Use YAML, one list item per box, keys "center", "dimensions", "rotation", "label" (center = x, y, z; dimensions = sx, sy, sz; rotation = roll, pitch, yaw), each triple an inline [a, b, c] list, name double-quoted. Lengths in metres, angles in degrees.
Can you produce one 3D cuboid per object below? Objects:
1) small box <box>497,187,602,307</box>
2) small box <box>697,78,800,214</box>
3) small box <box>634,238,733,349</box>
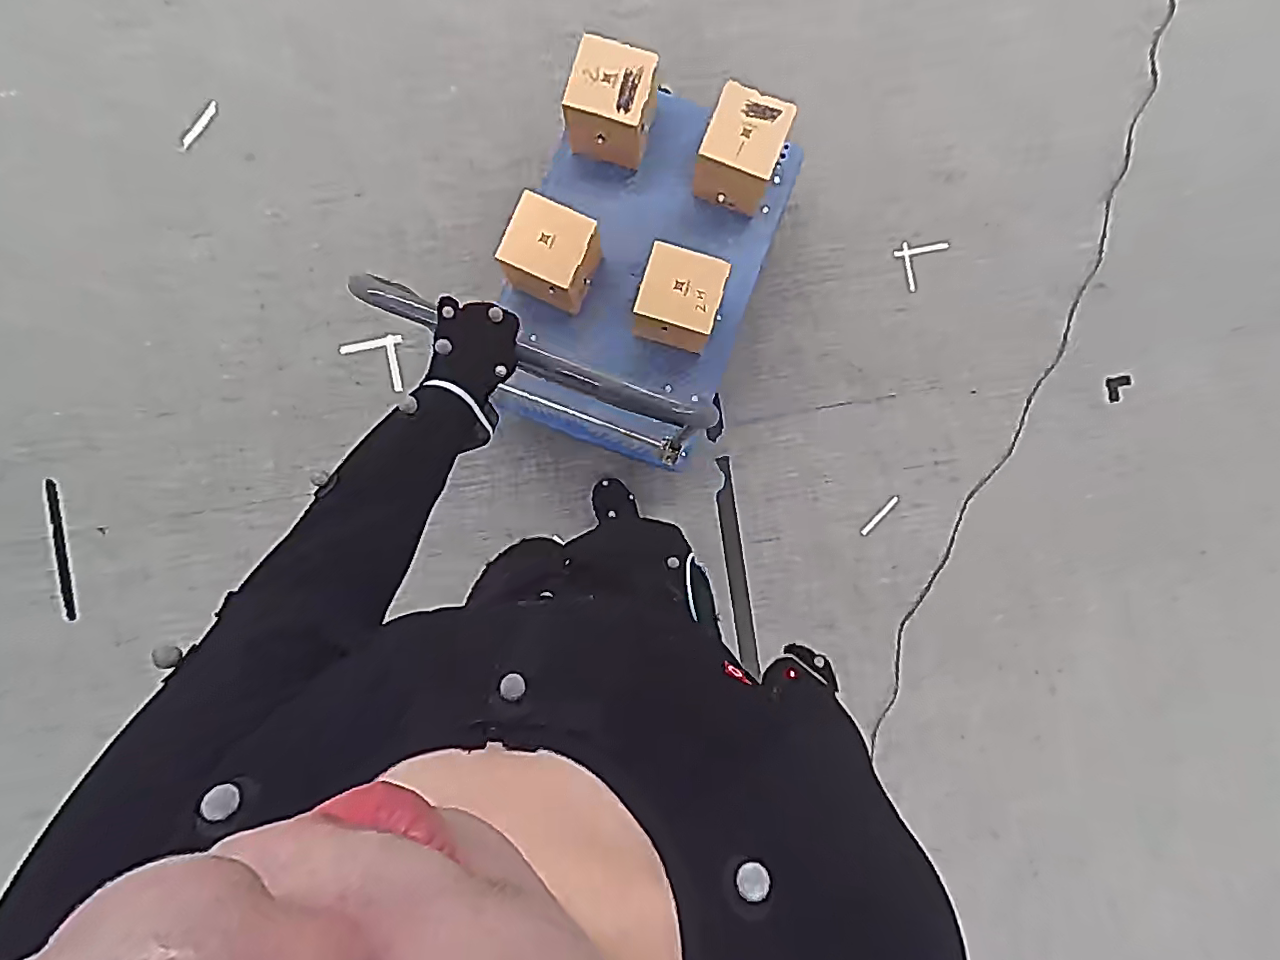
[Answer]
- center: [-0.198, -0.521, 1.239]
  dimensions: [0.179, 0.176, 0.168]
  rotation: [24, 89, -1]
  label: "small box"
- center: [0.238, -0.757, 1.241]
  dimensions: [0.168, 0.176, 0.179]
  rotation: [22, 91, 0]
  label: "small box"
- center: [0.093, -0.416, 1.237]
  dimensions: [0.179, 0.176, 0.168]
  rotation: [18, 89, 0]
  label: "small box"
